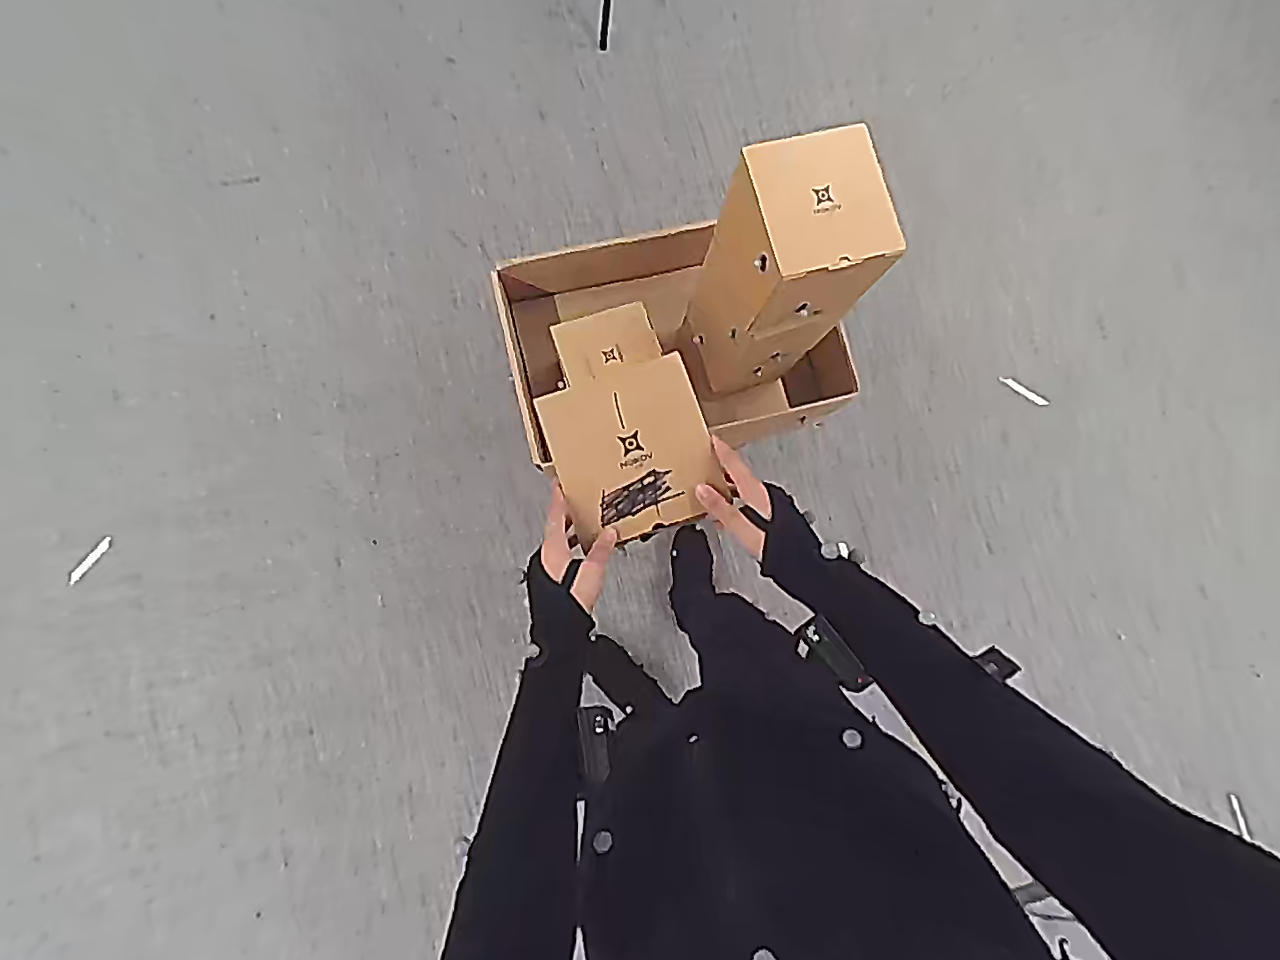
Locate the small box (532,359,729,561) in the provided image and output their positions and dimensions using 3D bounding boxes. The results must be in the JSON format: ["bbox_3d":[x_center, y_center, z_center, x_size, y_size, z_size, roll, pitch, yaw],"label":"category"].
[{"bbox_3d":[-0.009,-0.015,0.638,0.168,0.176,0.179,-19,83,-2],"label":"small box"}]

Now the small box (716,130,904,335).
[{"bbox_3d":[0.214,-0.323,0.732,0.168,0.176,0.179,-15,84,-6],"label":"small box"}]
